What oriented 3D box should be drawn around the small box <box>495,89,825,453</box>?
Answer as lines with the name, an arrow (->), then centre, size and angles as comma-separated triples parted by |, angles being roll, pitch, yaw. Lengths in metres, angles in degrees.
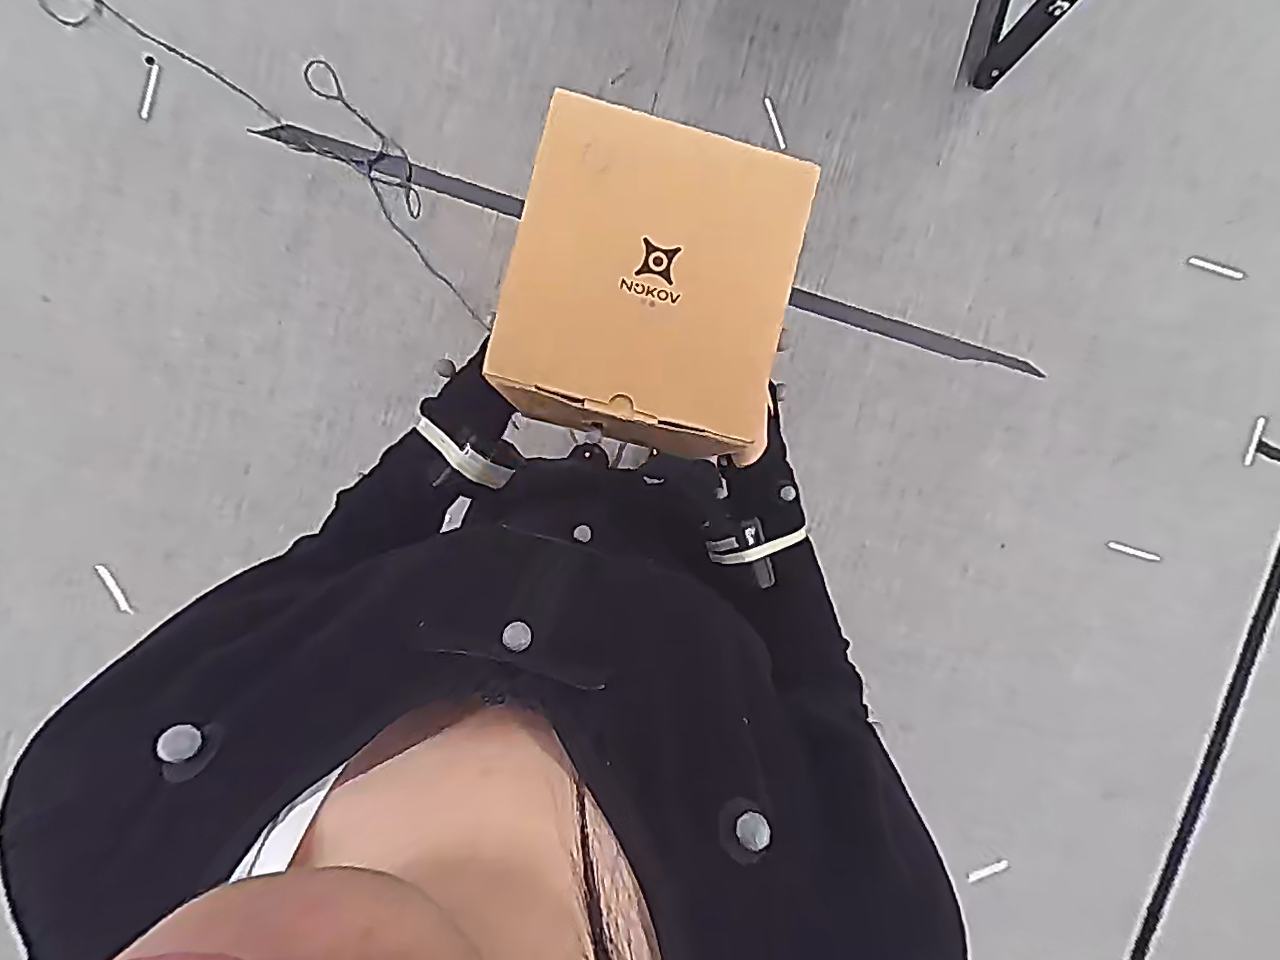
small box -> 0.008, -0.124, 0.396 | 0.168, 0.176, 0.179 | 13, 89, -4
